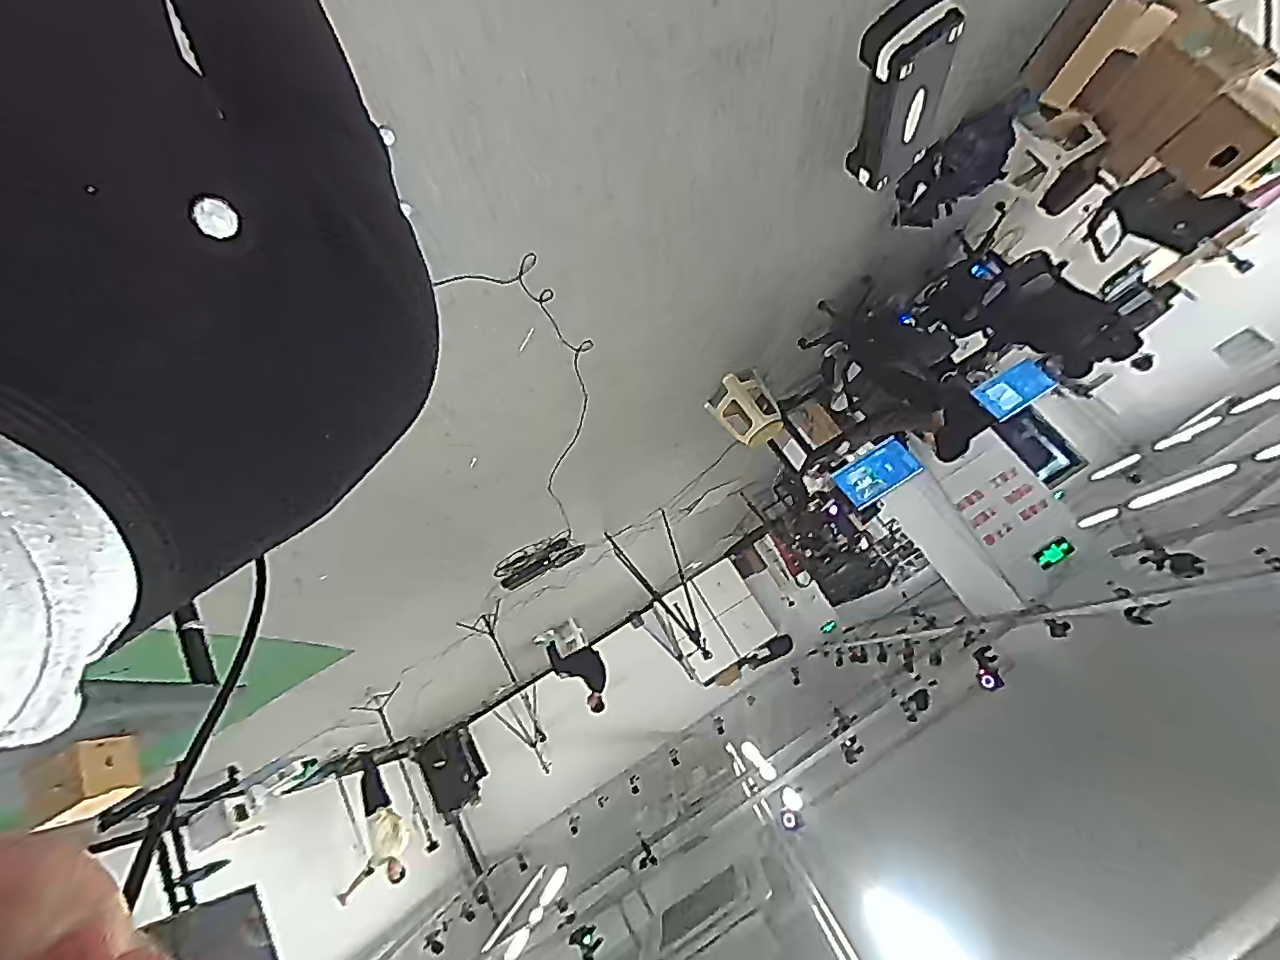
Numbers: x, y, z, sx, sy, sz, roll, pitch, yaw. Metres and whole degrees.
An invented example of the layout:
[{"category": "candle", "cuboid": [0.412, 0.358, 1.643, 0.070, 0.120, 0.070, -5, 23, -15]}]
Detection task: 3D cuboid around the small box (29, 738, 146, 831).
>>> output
[{"category": "small box", "cuboid": [-1.635, 0.884, 1.598, 0.179, 0.176, 0.168, -33, 161, -4]}]
